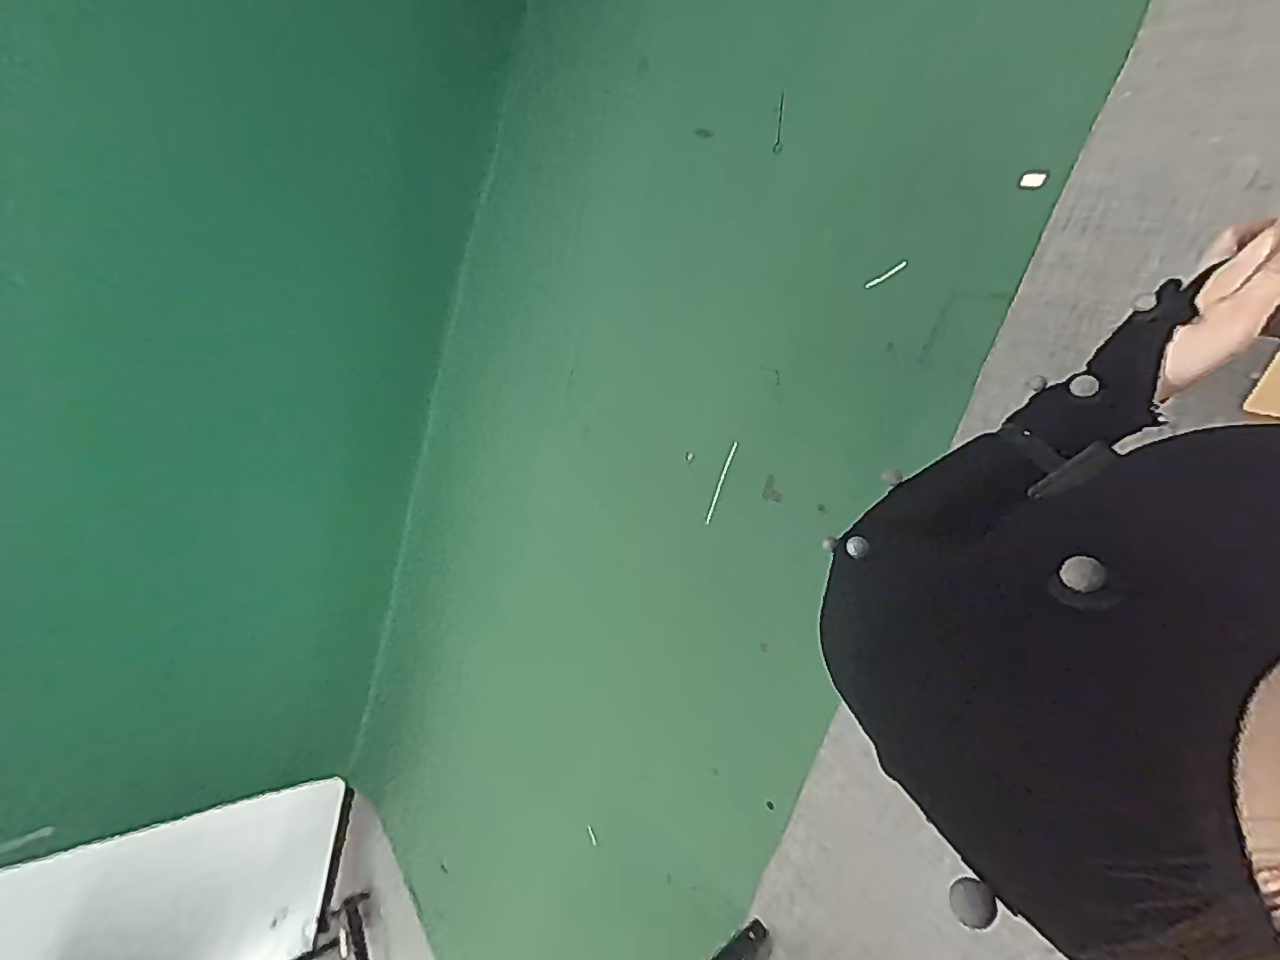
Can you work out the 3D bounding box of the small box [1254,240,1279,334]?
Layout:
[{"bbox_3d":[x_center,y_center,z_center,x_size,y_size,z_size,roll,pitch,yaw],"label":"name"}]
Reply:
[{"bbox_3d":[0.523,-0.184,0.319,0.168,0.176,0.179,22,103,39],"label":"small box"}]

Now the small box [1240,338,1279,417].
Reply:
[{"bbox_3d":[1.194,-0.186,0.928,0.168,0.176,0.179,35,112,41],"label":"small box"}]
